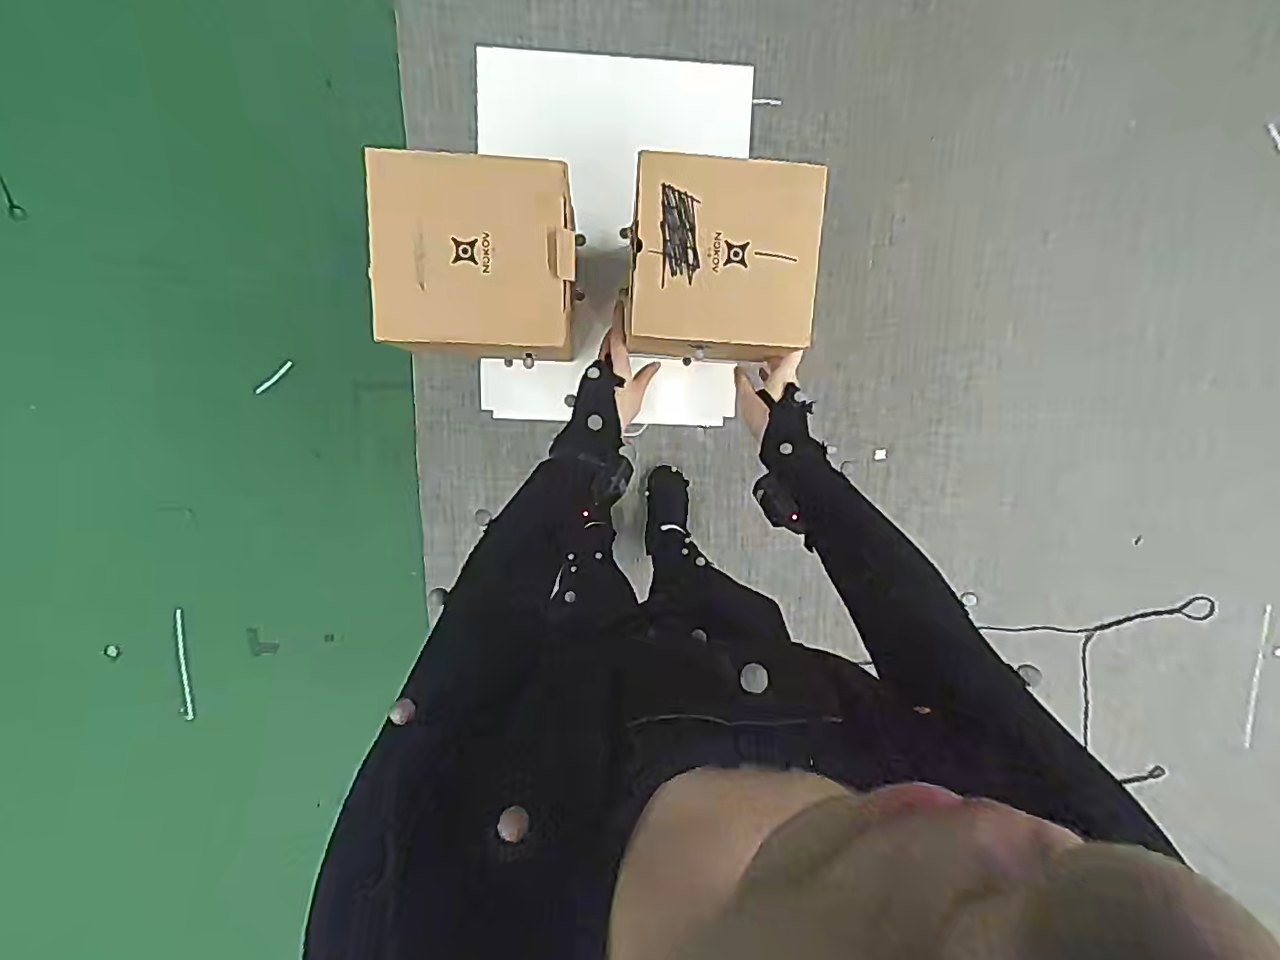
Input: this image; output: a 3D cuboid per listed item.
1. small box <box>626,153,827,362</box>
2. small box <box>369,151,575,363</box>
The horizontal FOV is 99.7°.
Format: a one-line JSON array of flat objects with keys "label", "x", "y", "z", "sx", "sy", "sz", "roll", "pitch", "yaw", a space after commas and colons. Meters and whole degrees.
[{"label": "small box", "x": 0.076, "y": -0.220, "z": 0.580, "sx": 0.179, "sy": 0.176, "sz": 0.168, "roll": 3, "pitch": 98, "yaw": -4}, {"label": "small box", "x": -0.159, "y": -0.215, "z": 0.567, "sx": 0.179, "sy": 0.176, "sz": 0.168, "roll": 1, "pitch": 97, "yaw": -4}]
